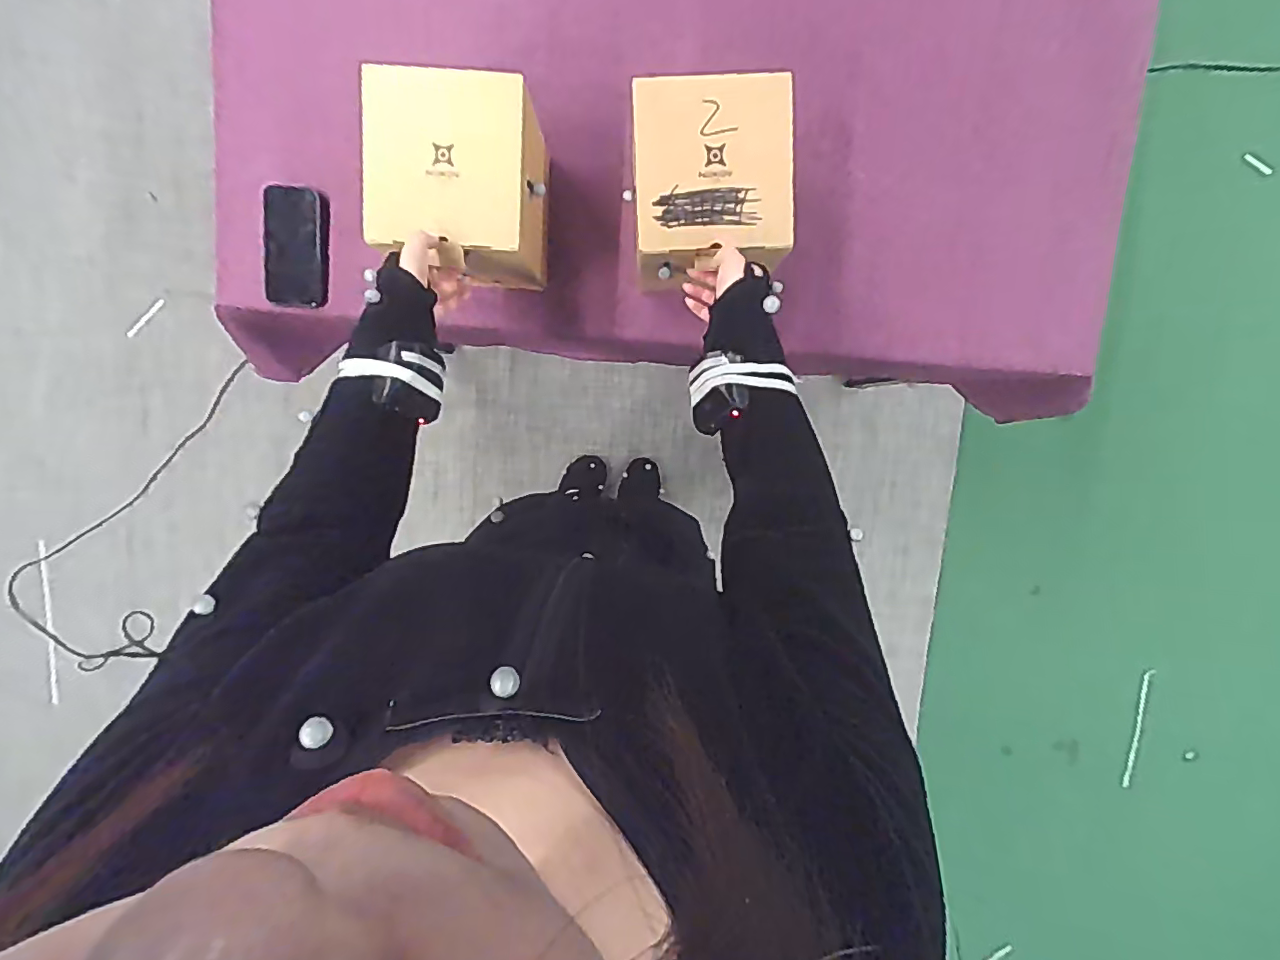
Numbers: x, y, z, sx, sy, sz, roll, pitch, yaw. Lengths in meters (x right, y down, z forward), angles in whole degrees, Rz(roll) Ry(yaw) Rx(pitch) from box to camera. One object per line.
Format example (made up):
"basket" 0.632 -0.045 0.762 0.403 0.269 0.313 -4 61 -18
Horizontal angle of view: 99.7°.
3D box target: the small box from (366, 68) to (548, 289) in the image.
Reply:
"small box" -0.206 -0.342 0.647 0.168 0.176 0.179 3 98 -1
